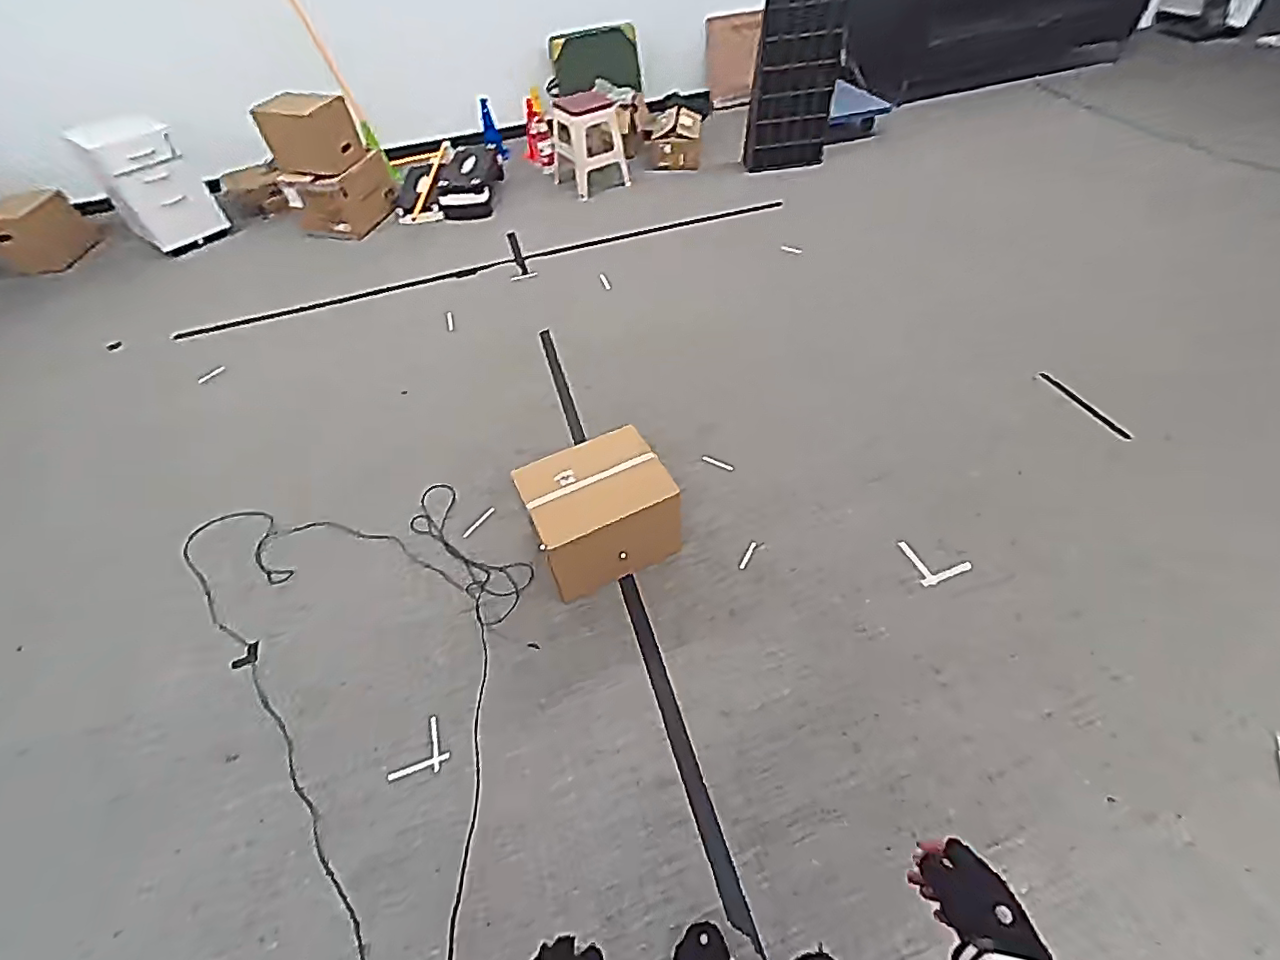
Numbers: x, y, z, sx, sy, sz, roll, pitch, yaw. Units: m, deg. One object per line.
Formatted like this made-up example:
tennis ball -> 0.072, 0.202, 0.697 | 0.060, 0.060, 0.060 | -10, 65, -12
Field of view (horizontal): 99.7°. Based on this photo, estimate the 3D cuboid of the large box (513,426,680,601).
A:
large box -> -0.122, 0.103, 1.666 | 0.408, 0.320, 0.320 | -24, 53, -14
